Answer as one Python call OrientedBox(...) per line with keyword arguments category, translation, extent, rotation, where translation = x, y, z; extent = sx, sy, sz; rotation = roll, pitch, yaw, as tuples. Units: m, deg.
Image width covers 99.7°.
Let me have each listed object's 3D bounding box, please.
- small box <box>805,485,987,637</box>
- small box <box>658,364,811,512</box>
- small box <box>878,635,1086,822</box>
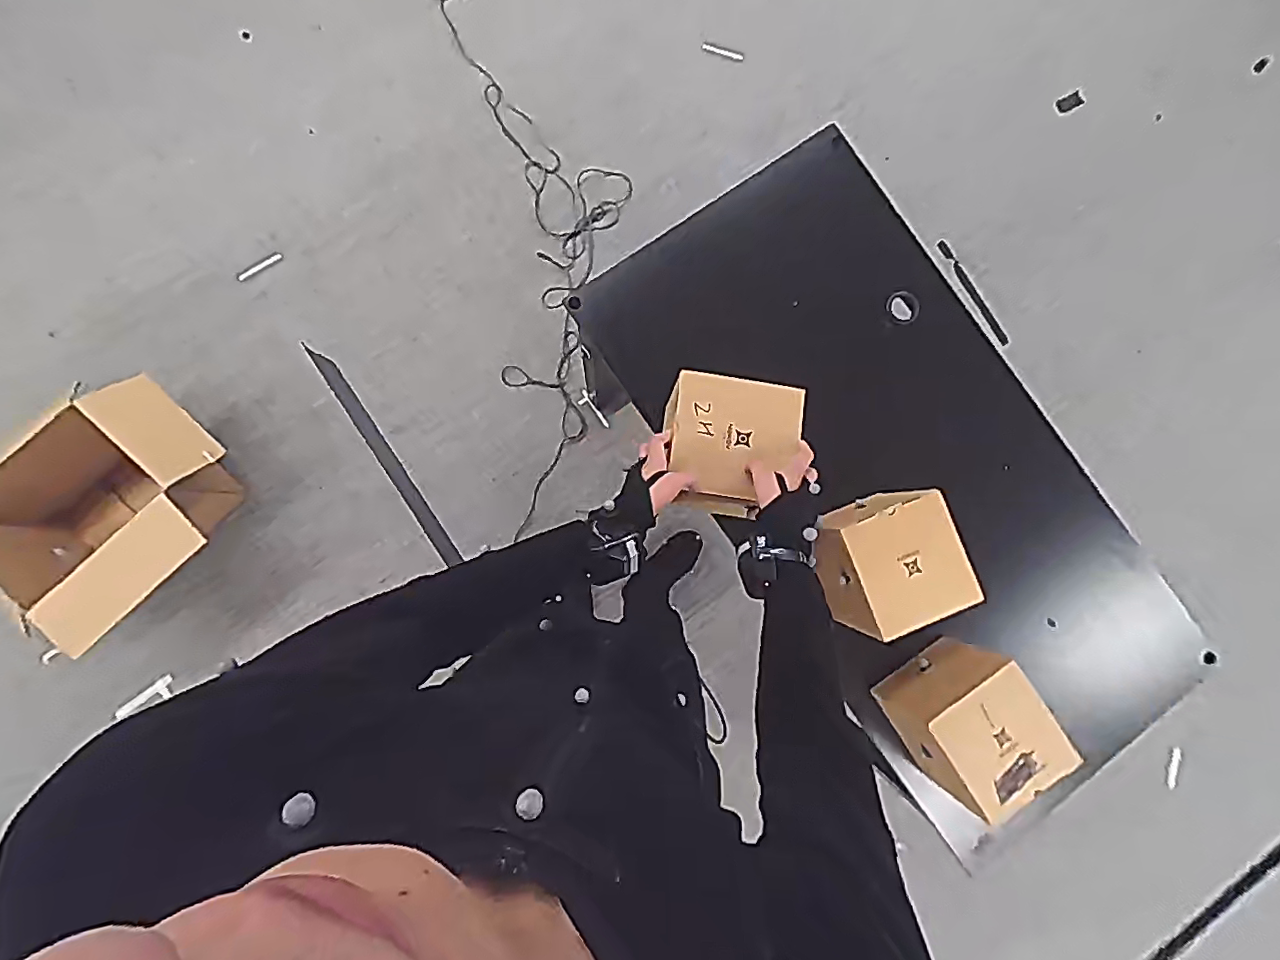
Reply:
OrientedBox(category="small box", translation=(0.388, 0.119, 0.851), extent=(0.168, 0.176, 0.179), rotation=(-22, 87, -5))
OrientedBox(category="small box", translation=(0.129, -0.050, 0.791), extent=(0.179, 0.176, 0.168), rotation=(8, 80, -2))
OrientedBox(category="small box", translation=(0.516, 0.368, 0.840), extent=(0.168, 0.176, 0.179), rotation=(-33, 88, -6))
